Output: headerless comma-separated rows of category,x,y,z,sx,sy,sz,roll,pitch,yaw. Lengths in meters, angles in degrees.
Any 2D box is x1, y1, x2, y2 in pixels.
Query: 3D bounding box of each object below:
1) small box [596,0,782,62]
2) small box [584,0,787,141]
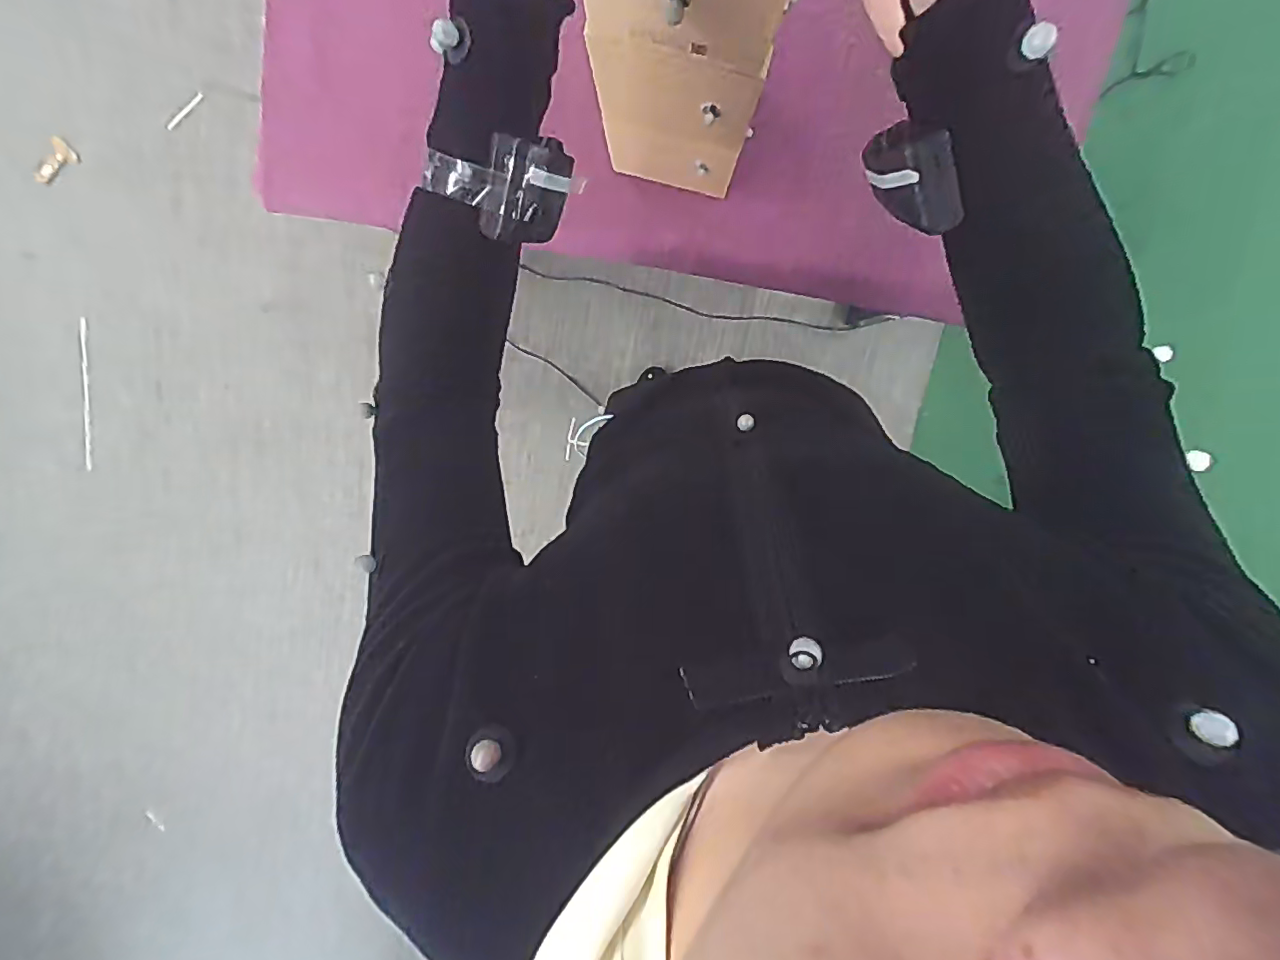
small box,0.050,-0.461,0.400,0.168,0.176,0.179,14,101,-1
small box,0.055,-0.485,0.561,0.179,0.176,0.168,15,101,0
